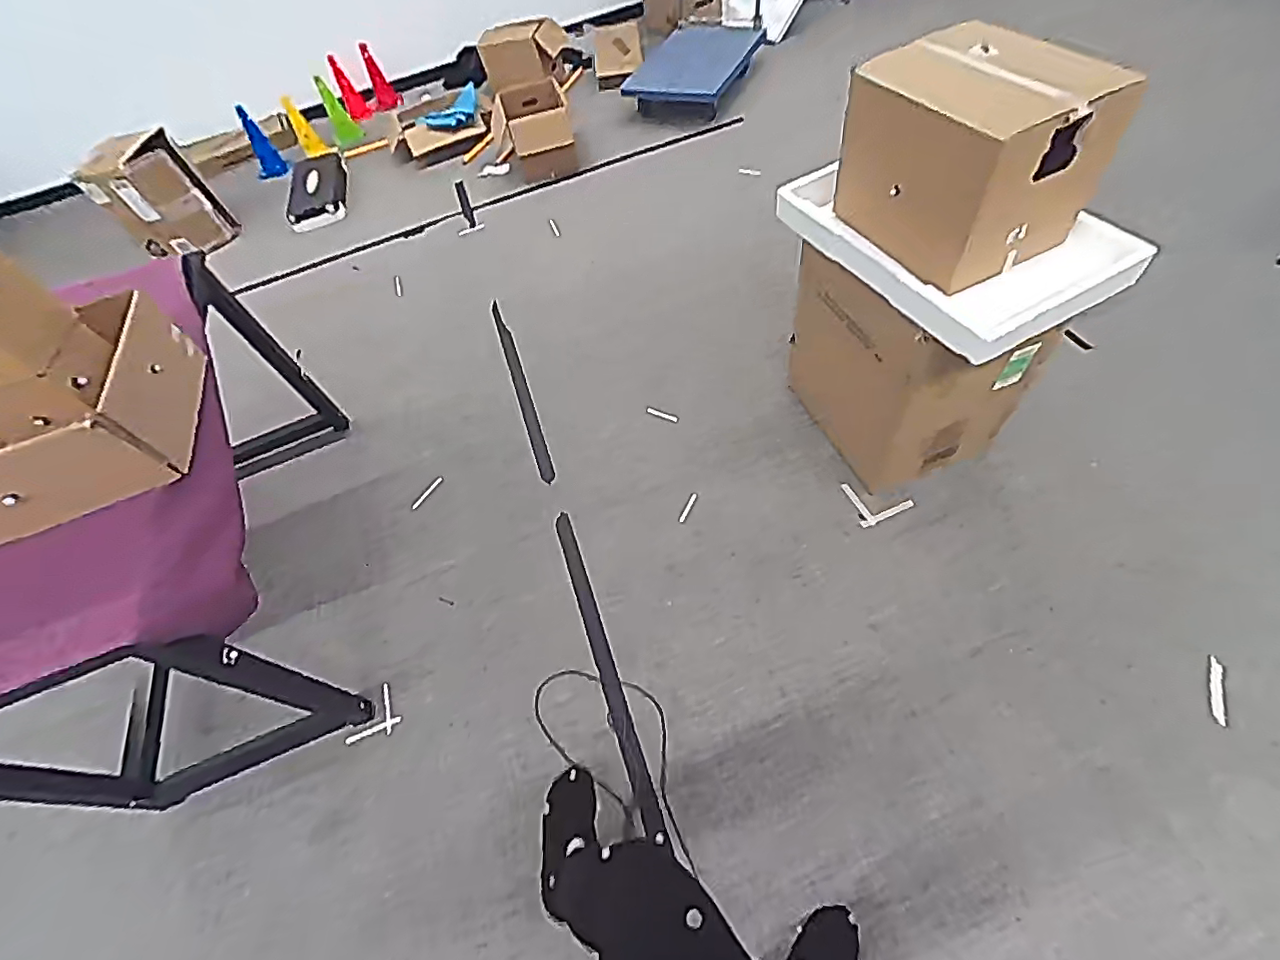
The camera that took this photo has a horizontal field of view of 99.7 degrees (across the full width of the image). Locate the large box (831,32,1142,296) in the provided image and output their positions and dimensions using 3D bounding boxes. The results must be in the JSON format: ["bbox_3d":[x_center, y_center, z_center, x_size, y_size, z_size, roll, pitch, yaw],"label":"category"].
[{"bbox_3d":[0.665,-0.660,1.133,0.320,0.320,0.408,-25,54,-8],"label":"large box"}]
